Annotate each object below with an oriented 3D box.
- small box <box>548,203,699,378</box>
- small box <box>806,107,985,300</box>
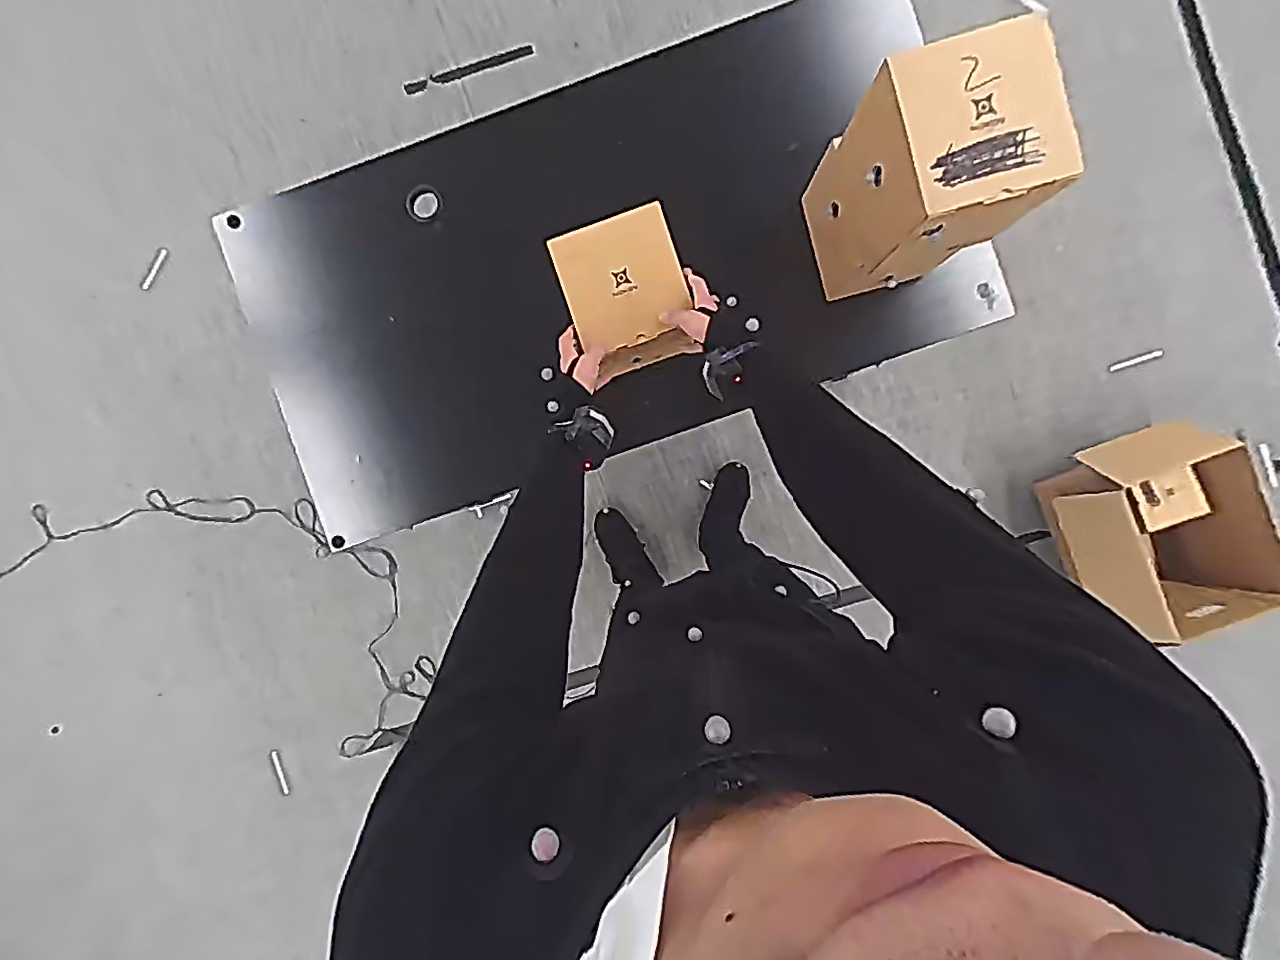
[{"bbox_3d":[-0.022,-0.270,0.812,0.168,0.176,0.179,-19,91,2],"label":"small box"},{"bbox_3d":[0.359,-0.390,0.793,0.168,0.176,0.179,-14,91,3],"label":"small box"}]
